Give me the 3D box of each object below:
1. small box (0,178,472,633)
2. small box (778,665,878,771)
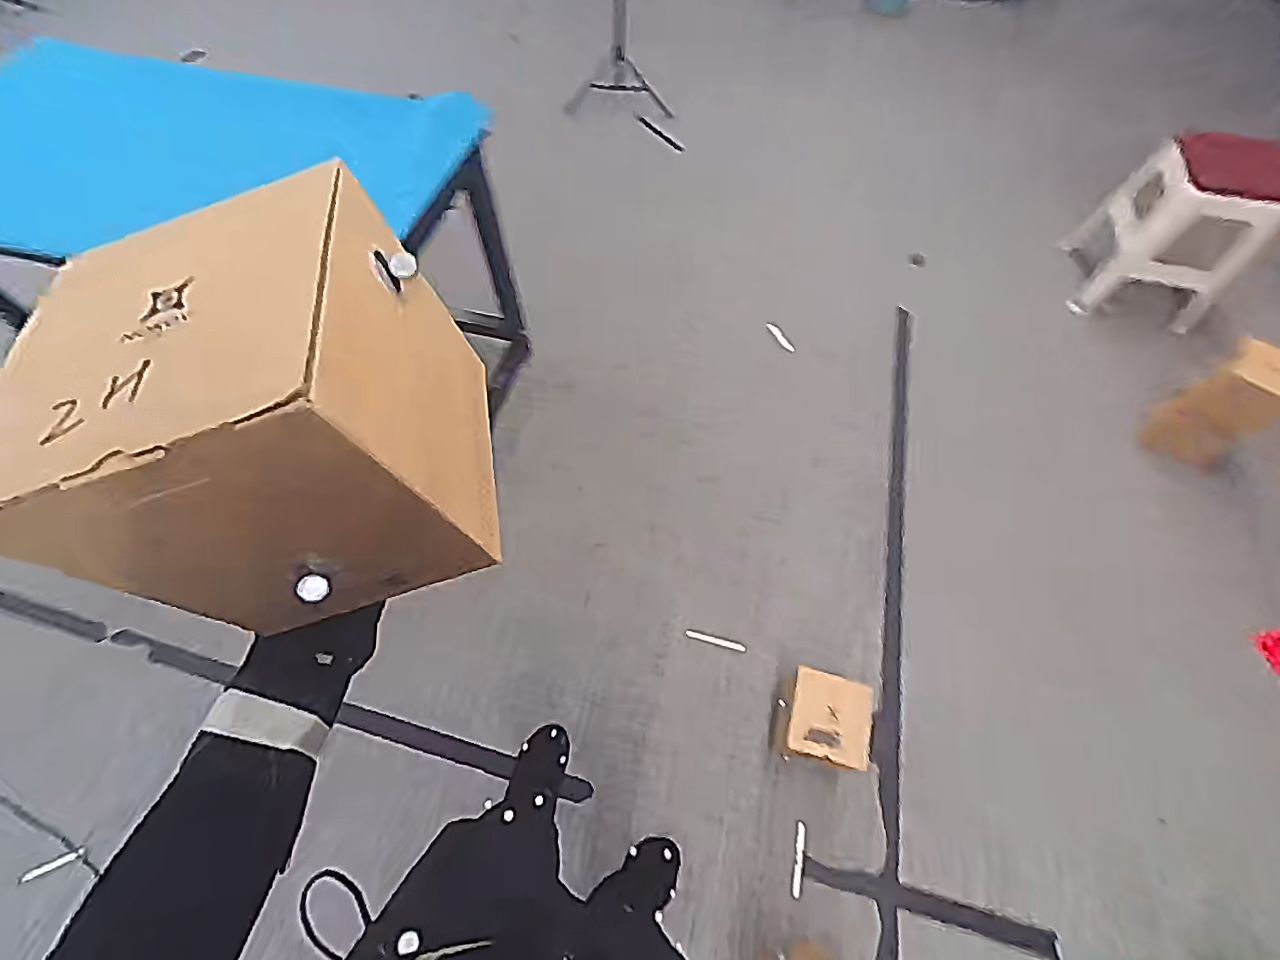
[{"bbox_3d":[-0.213,-0.028,0.317,0.168,0.176,0.179,-16,61,7],"label":"small box"},{"bbox_3d":[0.423,0.548,1.237,0.168,0.176,0.179,15,62,9],"label":"small box"}]
